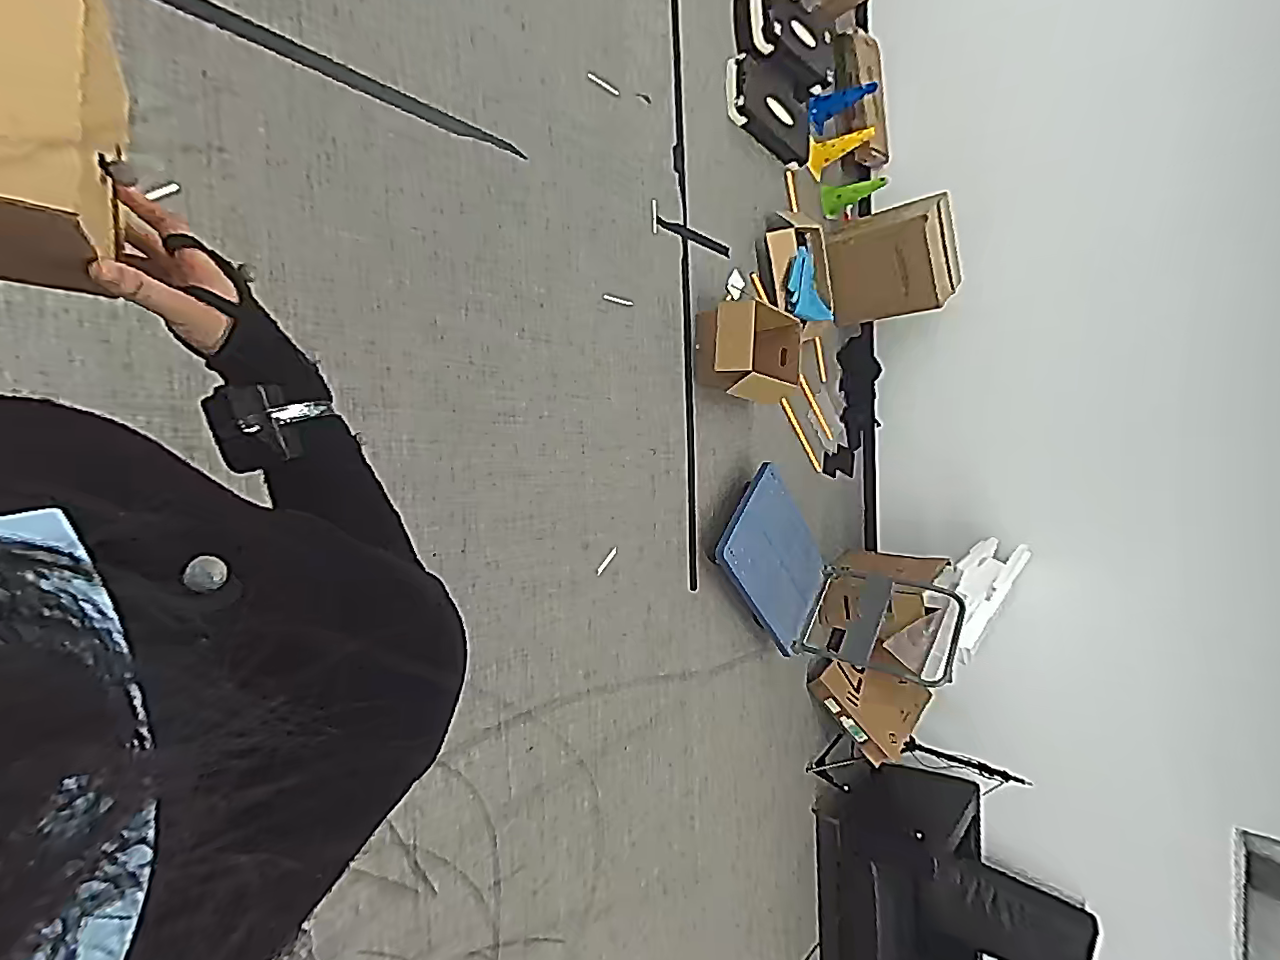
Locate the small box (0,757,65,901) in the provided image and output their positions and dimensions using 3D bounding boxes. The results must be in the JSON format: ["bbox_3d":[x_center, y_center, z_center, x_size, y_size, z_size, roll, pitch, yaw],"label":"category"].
[{"bbox_3d":[-1.125,0.610,0.939,0.168,0.176,0.179,0,91,-46],"label":"small box"}]

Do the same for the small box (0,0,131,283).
[{"bbox_3d":[-0.413,-0.226,0.302,0.179,0.176,0.168,2,89,-37],"label":"small box"}]
